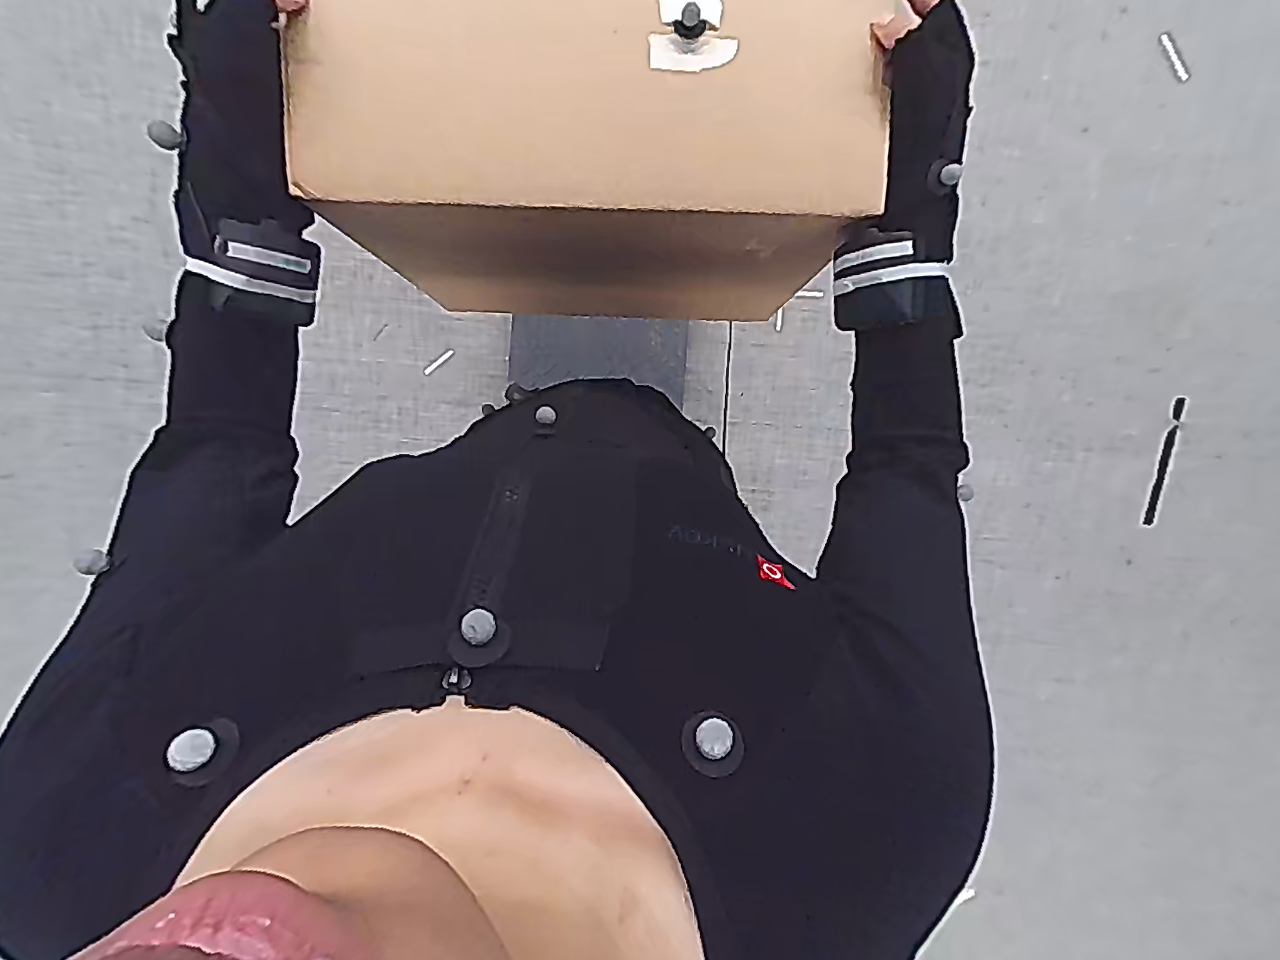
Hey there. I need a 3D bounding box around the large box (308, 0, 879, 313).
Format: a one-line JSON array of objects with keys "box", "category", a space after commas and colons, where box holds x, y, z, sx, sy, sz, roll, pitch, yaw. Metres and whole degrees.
[{"box": [-0.034, -0.356, 0.524, 0.408, 0.320, 0.320, 1, 94, -2], "category": "large box"}]
